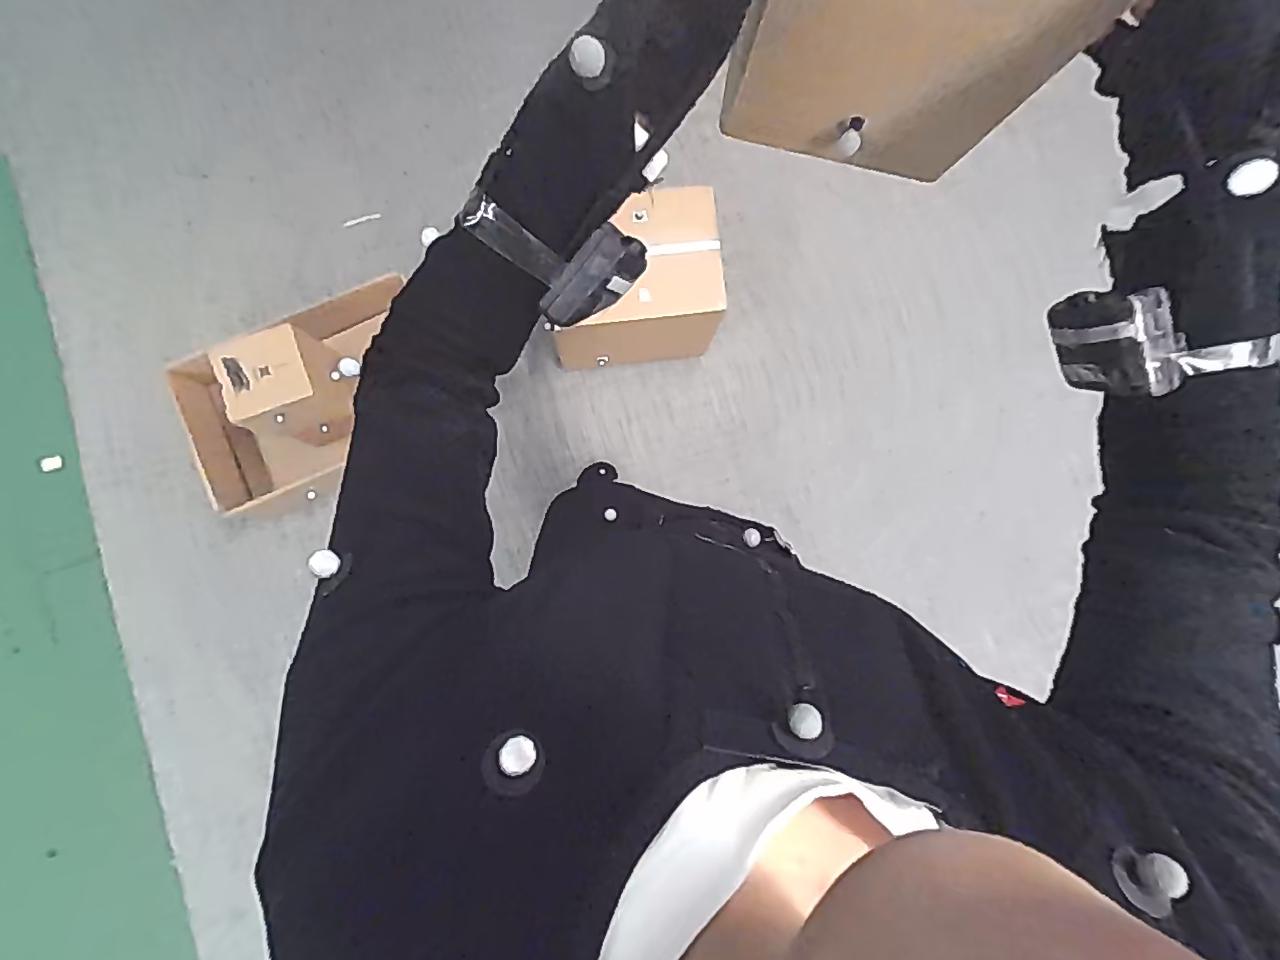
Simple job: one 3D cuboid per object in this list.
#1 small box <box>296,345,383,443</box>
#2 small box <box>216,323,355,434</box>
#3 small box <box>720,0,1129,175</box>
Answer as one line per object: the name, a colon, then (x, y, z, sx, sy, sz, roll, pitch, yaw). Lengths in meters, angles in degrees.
small box: (-0.786, -0.208, 1.361, 0.179, 0.176, 0.168, -24, 86, -6)
small box: (-0.774, -0.215, 1.196, 0.179, 0.176, 0.168, -21, 85, -5)
small box: (0.165, -0.327, 0.340, 0.179, 0.176, 0.168, 10, 89, -4)
